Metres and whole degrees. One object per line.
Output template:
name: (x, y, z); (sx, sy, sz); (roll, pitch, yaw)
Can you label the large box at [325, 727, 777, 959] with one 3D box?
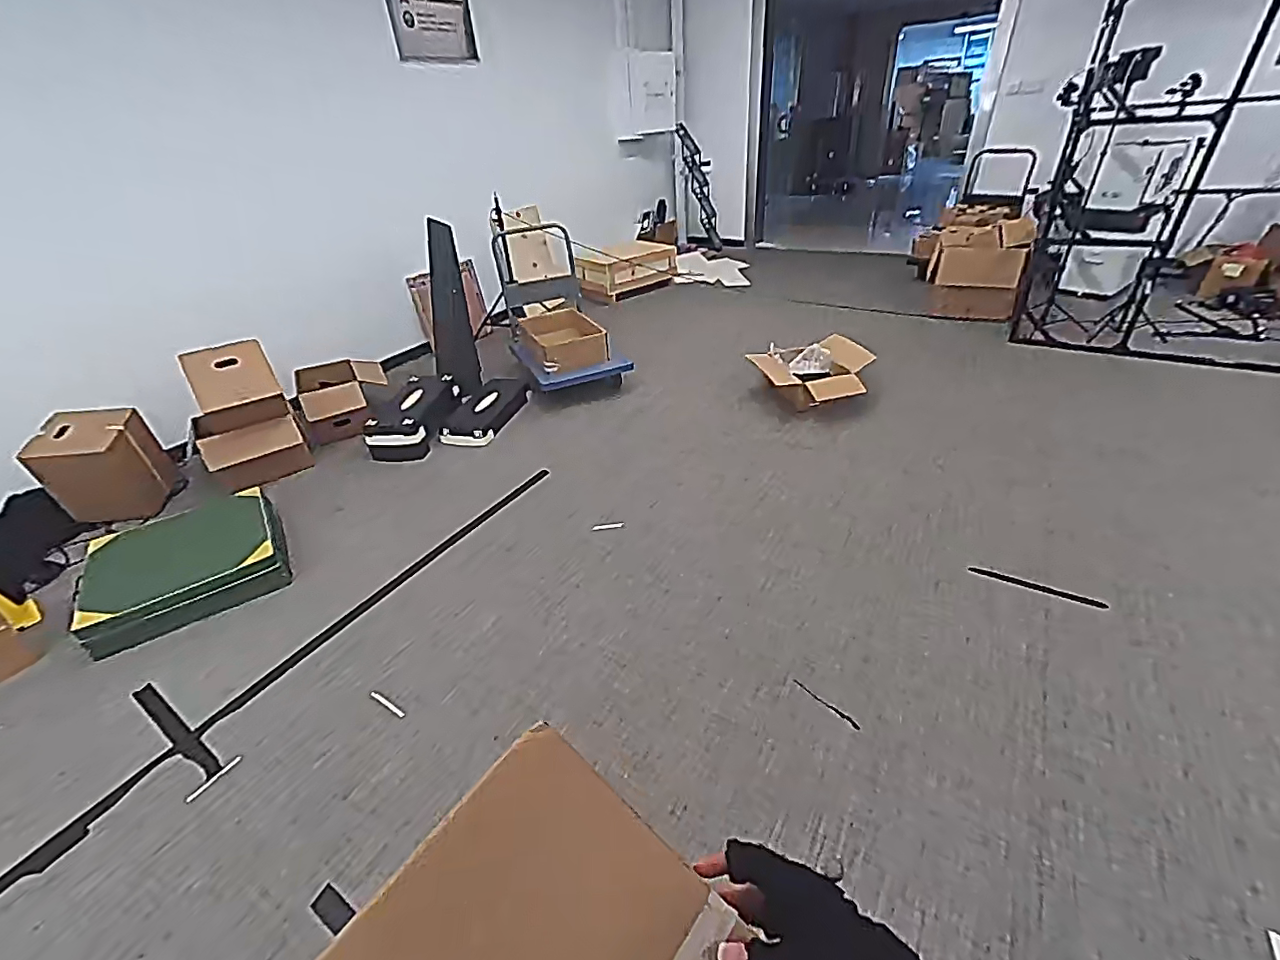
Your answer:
large box: (-0.112, 0.451, 0.351); (0.320, 0.320, 0.408); (41, 57, 9)
